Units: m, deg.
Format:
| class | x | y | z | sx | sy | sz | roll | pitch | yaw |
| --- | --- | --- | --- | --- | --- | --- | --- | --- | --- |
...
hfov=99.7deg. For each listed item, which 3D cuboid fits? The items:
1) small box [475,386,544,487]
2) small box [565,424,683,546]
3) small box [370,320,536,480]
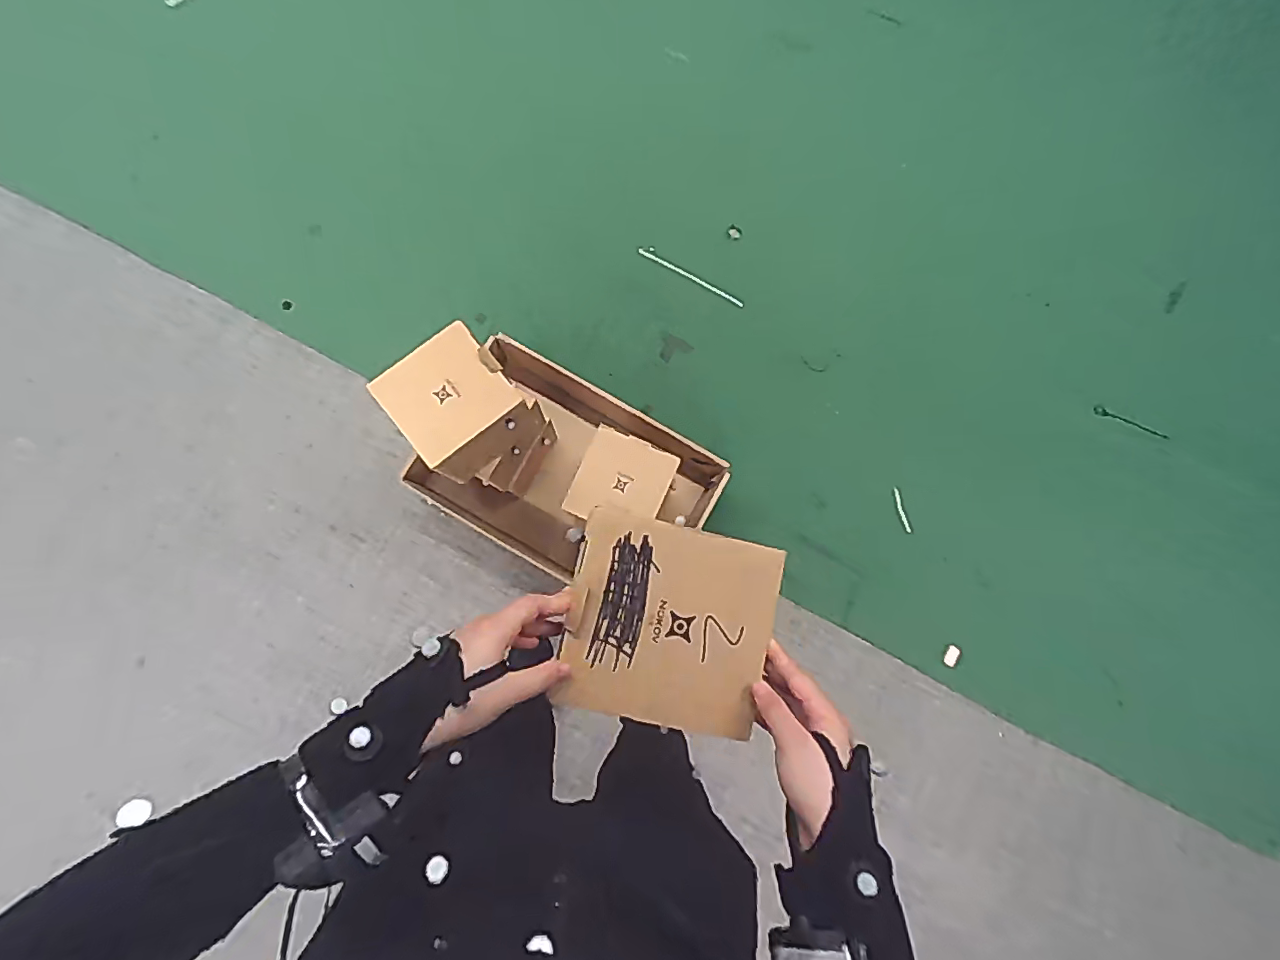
| class | x | y | z | sx | sy | sz | roll | pitch | yaw |
| --- | --- | --- | --- | --- | --- | --- | --- | --- | --- |
| small box | -0.300 | -0.103 | 1.050 | 0.168 | 0.176 | 0.179 | 29 | 80 | 0 |
| small box | -0.031 | 0.017 | 1.051 | 0.168 | 0.176 | 0.179 | 24 | 83 | 3 |
| small box | -0.292 | -0.119 | 0.889 | 0.179 | 0.176 | 0.168 | -39 | 86 | -9 |
